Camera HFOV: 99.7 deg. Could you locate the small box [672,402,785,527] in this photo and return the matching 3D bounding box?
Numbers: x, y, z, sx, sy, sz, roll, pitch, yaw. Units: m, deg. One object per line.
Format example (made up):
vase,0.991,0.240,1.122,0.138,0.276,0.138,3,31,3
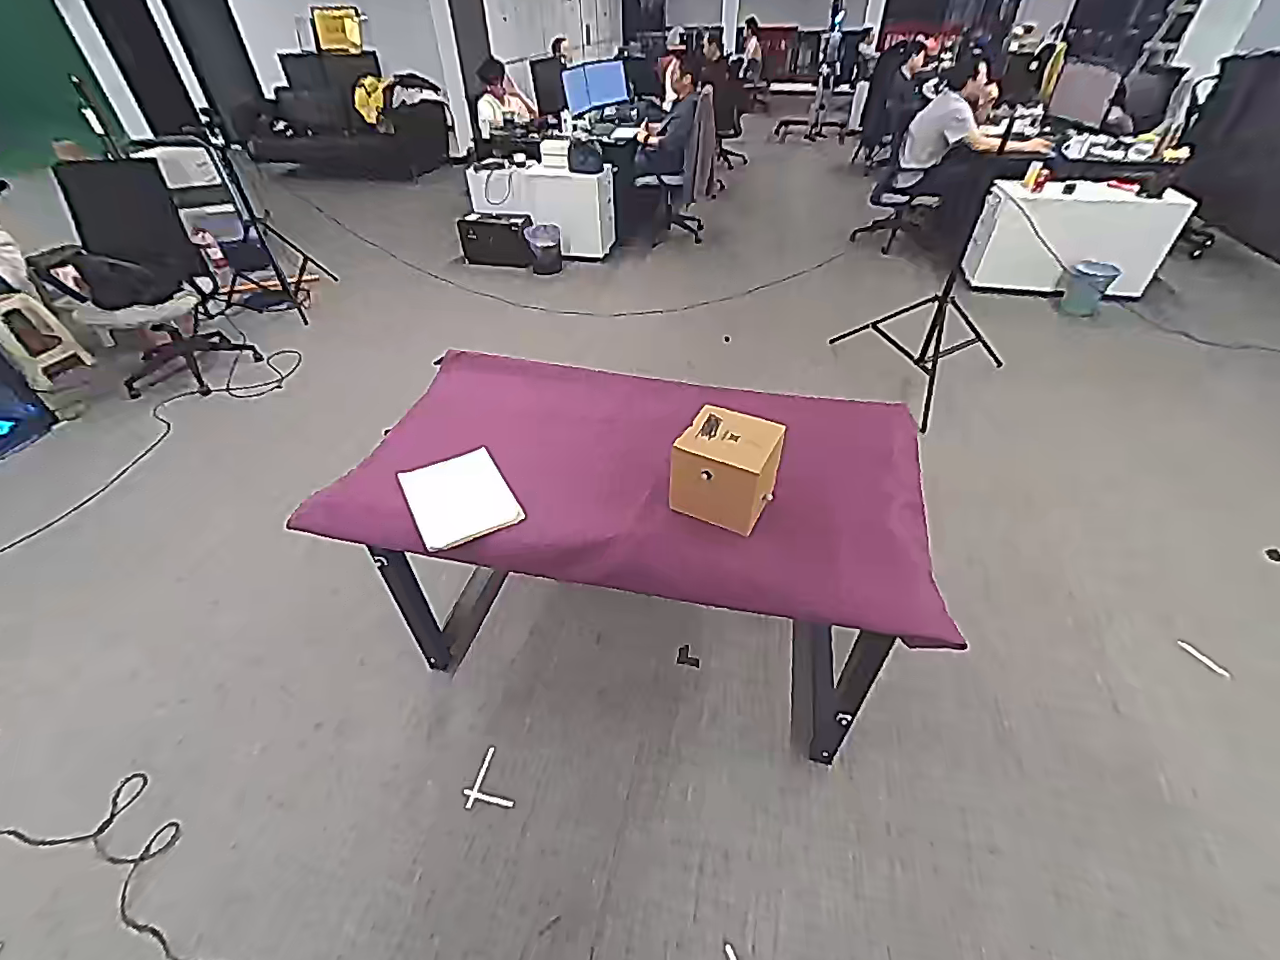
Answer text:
small box,0.174,-0.030,1.098,0.179,0.176,0.168,19,45,22
